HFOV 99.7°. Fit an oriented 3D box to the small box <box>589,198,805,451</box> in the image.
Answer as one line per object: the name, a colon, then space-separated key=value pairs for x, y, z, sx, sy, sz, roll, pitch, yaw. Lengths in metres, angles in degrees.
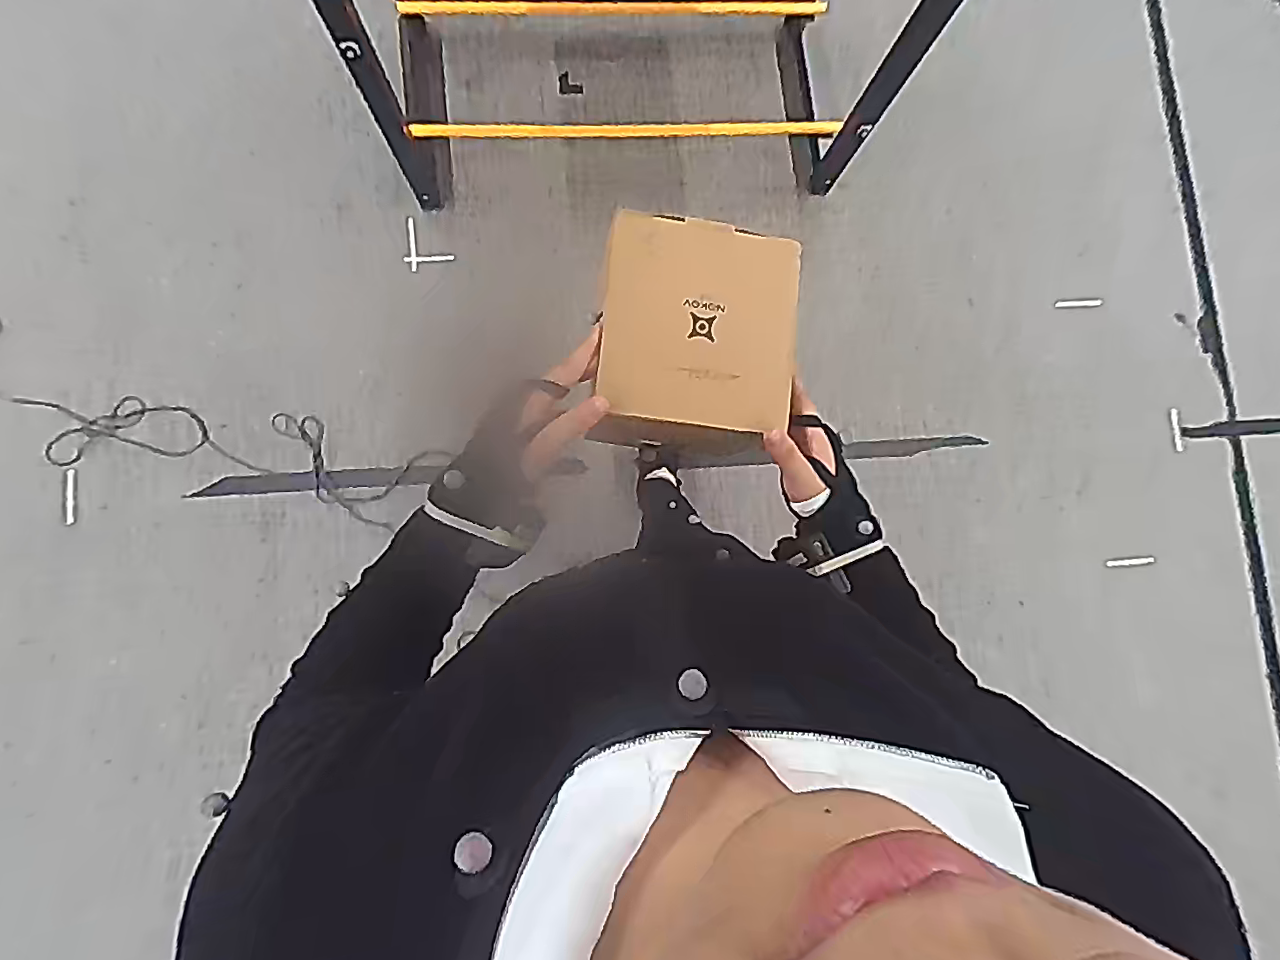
small box: x=0.043 y=-0.133 z=0.531 sx=0.168 sy=0.176 sz=0.179 roll=7 pitch=85 yaw=-8
